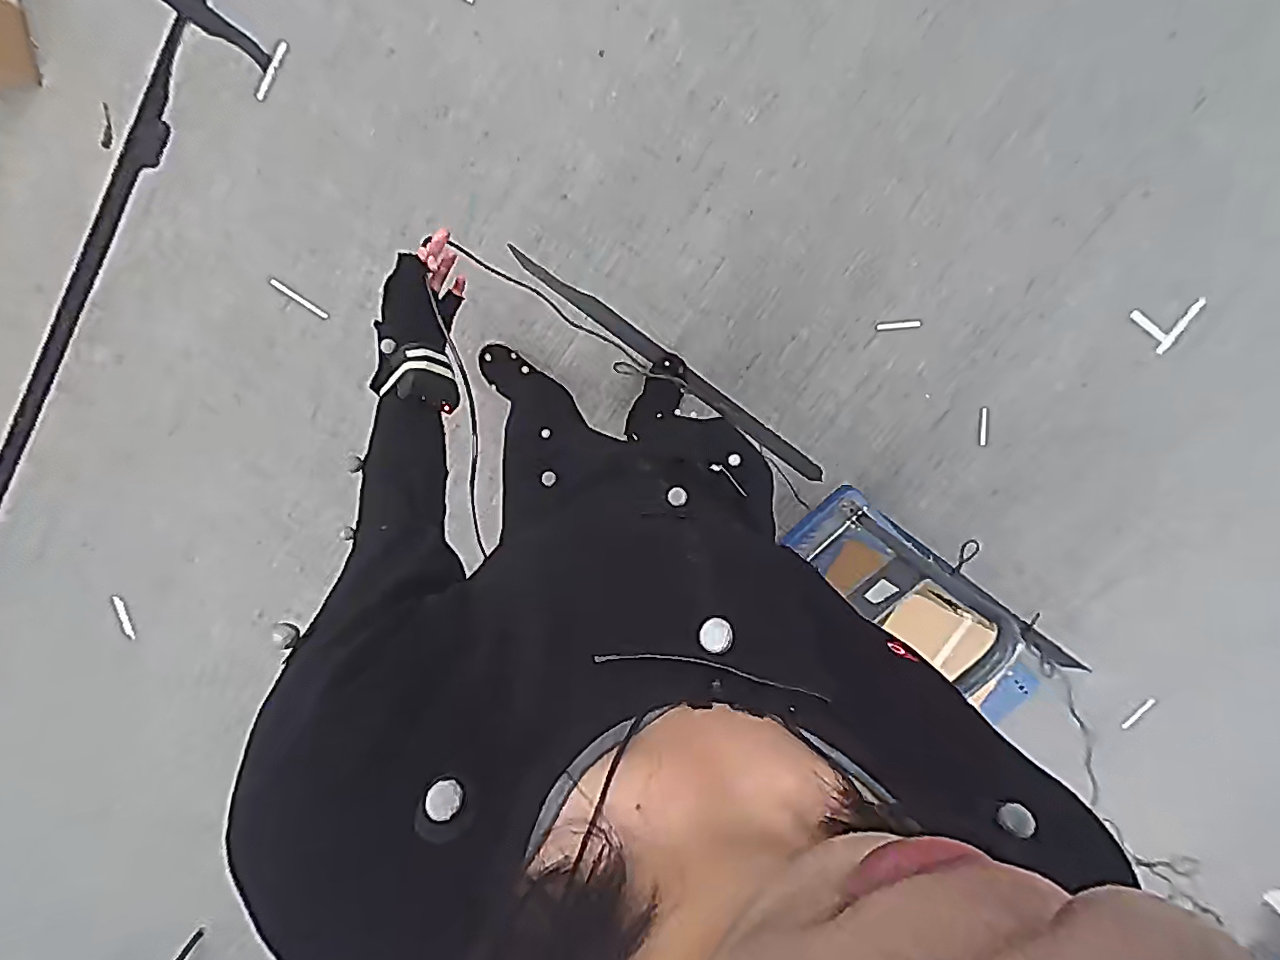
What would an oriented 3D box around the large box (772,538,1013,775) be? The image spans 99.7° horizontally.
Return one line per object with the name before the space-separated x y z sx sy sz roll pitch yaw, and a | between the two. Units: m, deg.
large box | 0.590 0.418 1.341 0.320 0.320 0.408 26 103 -8
